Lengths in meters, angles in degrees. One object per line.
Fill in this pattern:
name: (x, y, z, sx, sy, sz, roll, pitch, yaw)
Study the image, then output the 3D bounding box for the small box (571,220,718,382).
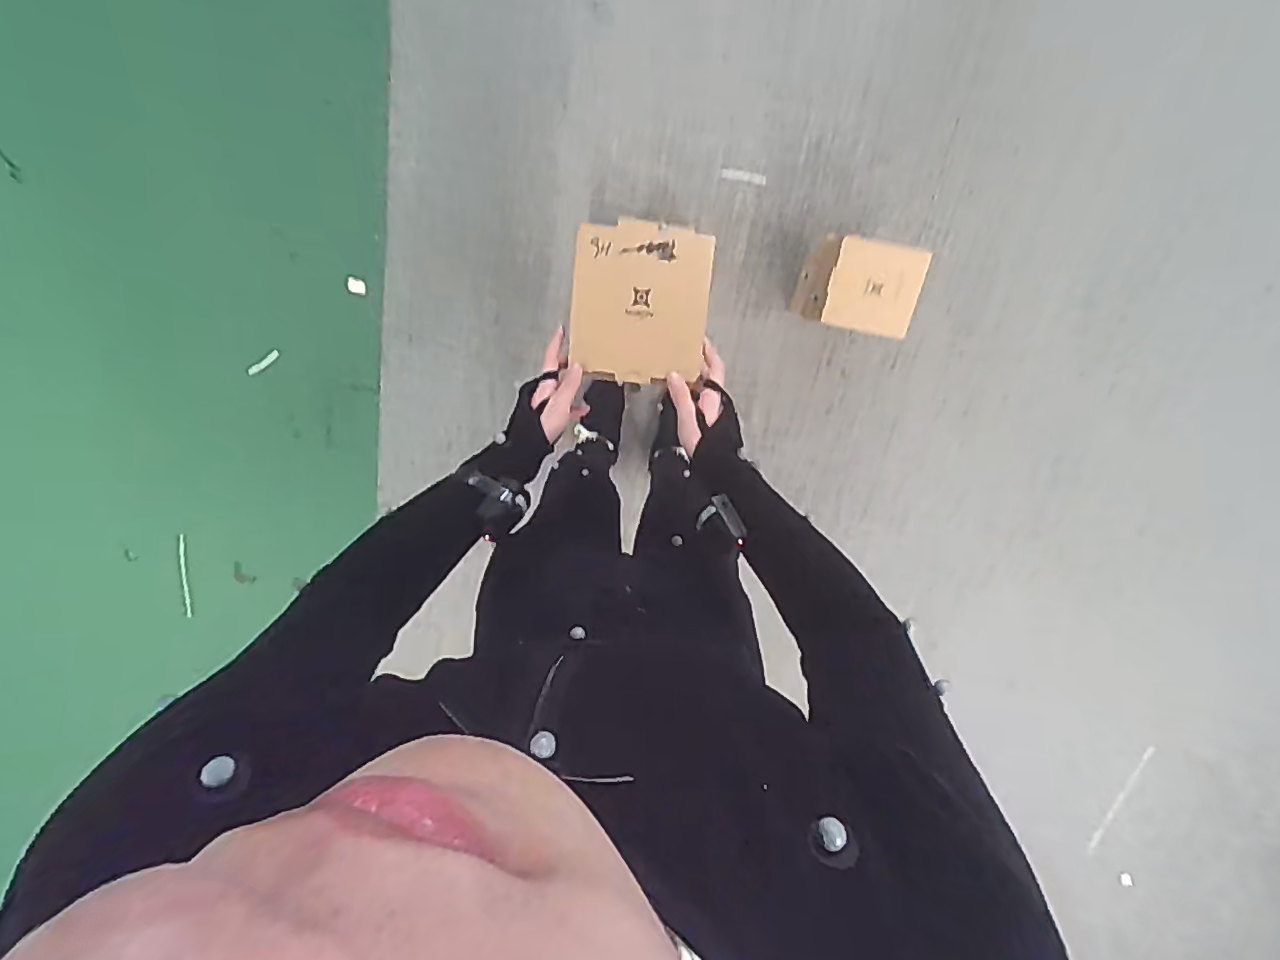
small box: (0.008, -0.226, 0.723, 0.168, 0.176, 0.179, 5, 99, 1)

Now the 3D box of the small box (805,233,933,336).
small box: (0.463, -0.402, 1.128, 0.179, 0.176, 0.168, 11, 109, 0)
